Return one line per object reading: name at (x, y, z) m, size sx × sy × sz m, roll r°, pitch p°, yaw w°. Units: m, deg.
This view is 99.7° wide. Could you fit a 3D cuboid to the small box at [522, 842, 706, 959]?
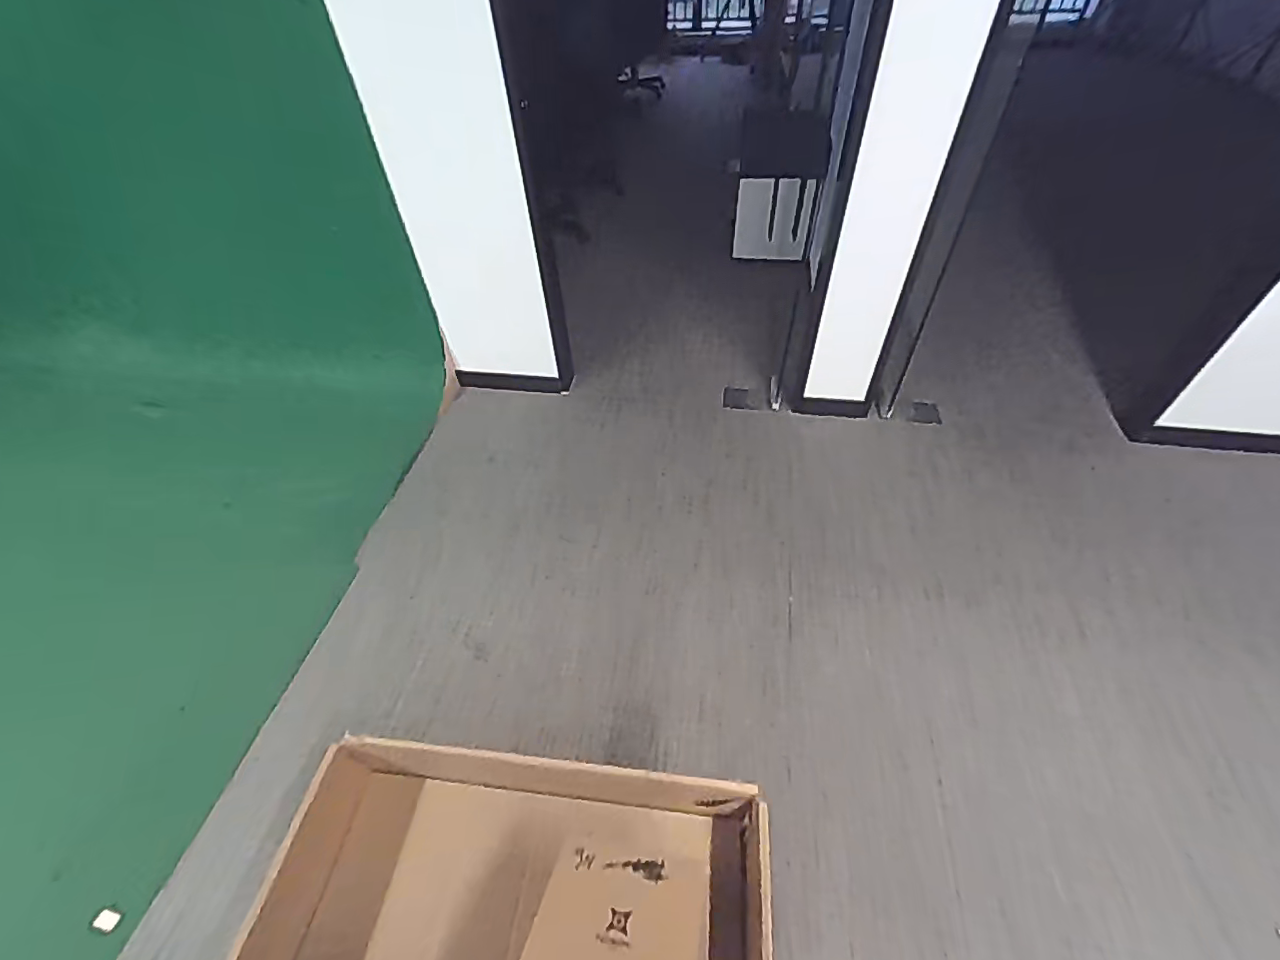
small box at (-0.023, 0.529, 0.557) m, size 0.168 × 0.176 × 0.179 m, roll 3°, pitch 20°, yaw 13°
